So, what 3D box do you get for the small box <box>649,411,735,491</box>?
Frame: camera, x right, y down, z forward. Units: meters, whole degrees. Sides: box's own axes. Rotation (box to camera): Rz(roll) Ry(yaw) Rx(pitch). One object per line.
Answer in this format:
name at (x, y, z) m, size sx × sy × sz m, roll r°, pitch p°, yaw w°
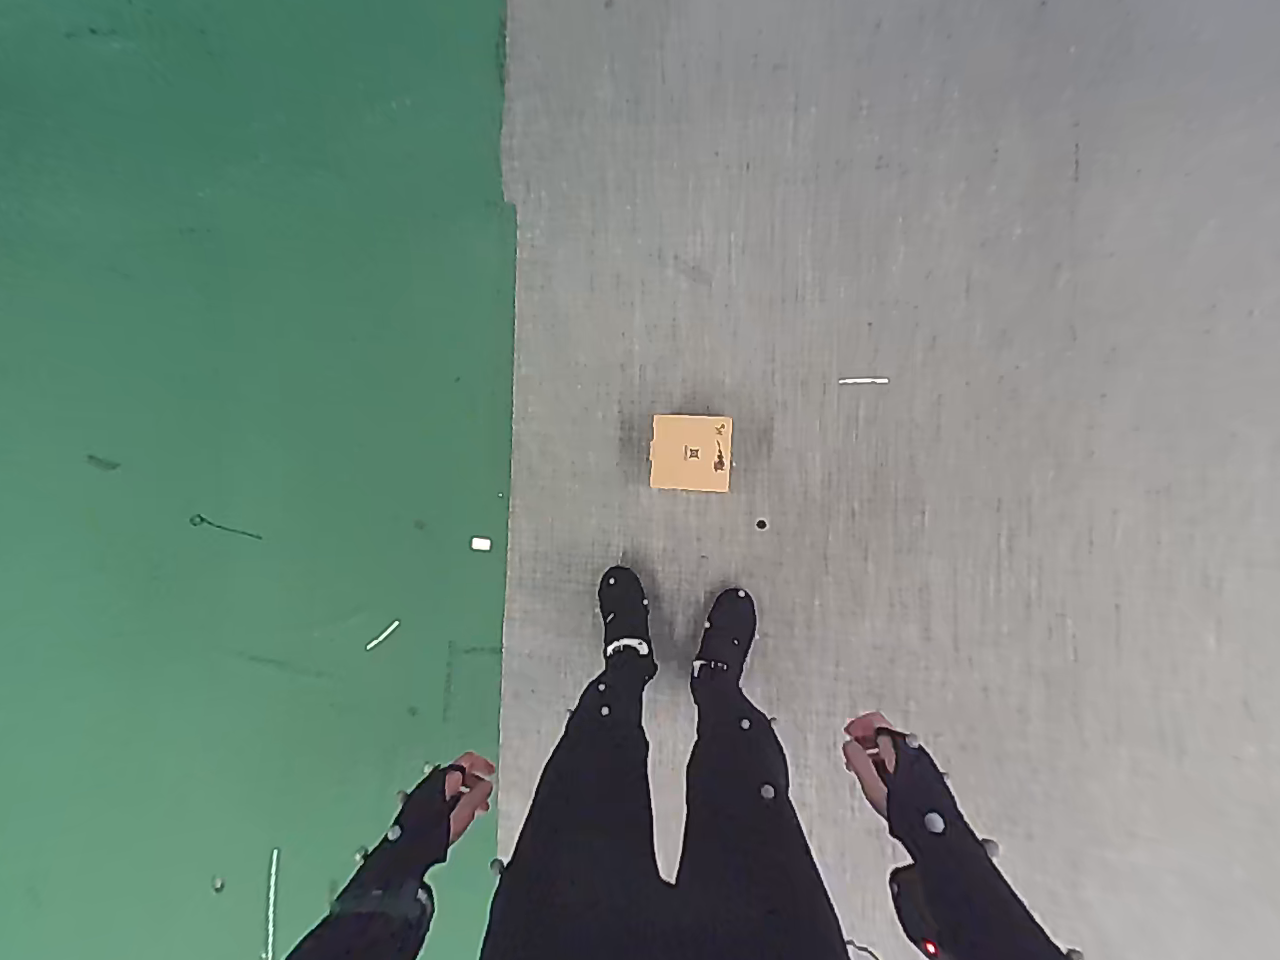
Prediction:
small box at (0.125, -0.062, 1.246) m, size 0.179 × 0.176 × 0.168 m, roll 4°, pitch 89°, yaw 10°
